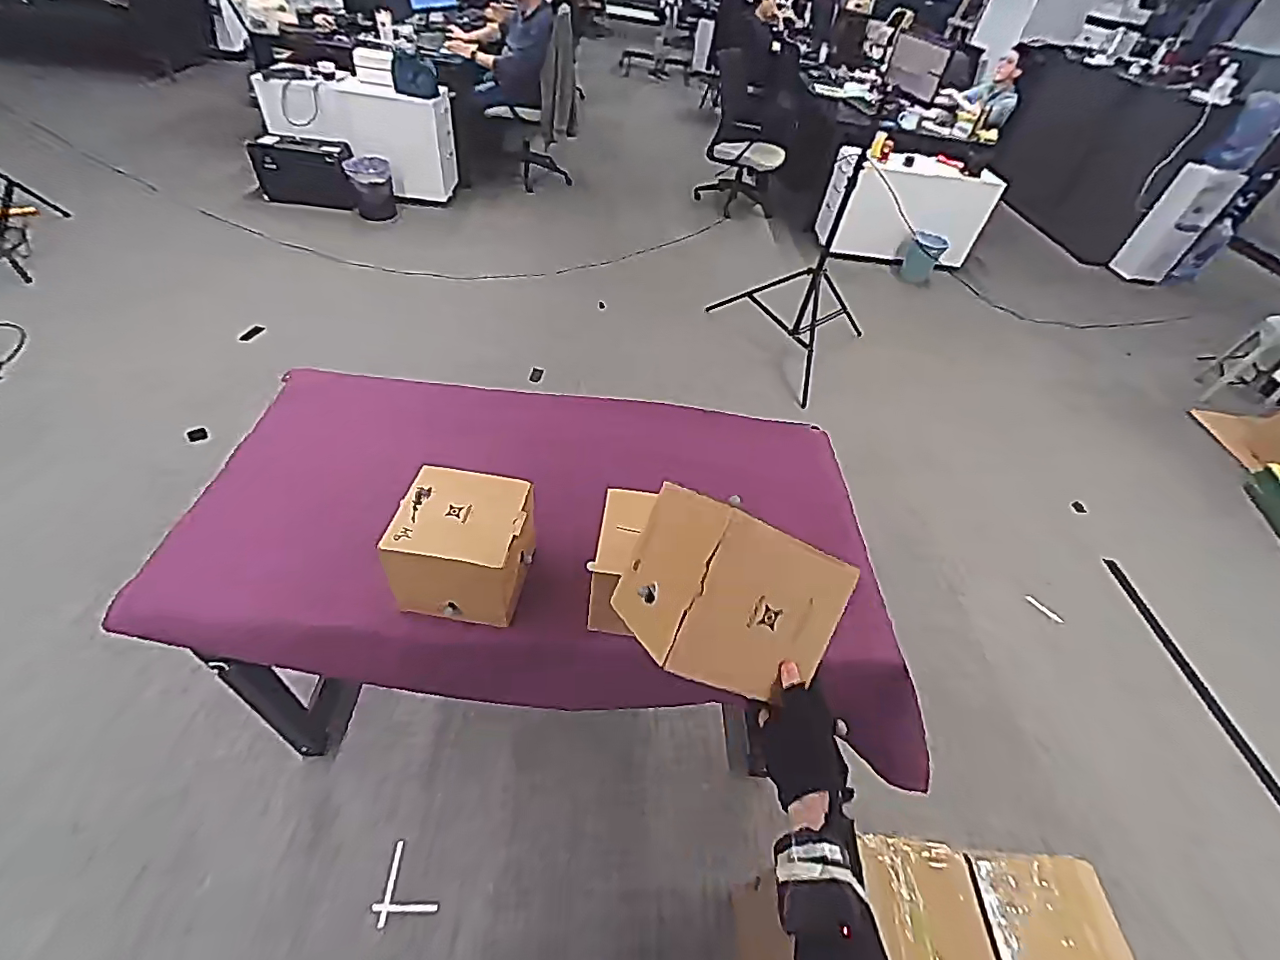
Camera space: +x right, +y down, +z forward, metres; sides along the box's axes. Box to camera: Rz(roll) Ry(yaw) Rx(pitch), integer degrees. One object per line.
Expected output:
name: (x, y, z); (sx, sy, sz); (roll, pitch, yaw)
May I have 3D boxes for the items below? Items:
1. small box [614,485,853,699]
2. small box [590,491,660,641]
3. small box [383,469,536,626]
small box: (0.093, 0.114, 0.614); (0.179, 0.168, 0.176); (25, -1, -23)
small box: (0.020, 0.143, 0.867); (0.179, 0.176, 0.168); (8, 45, -1)
small box: (-0.269, 0.110, 0.851); (0.179, 0.176, 0.168); (10, 45, -1)
